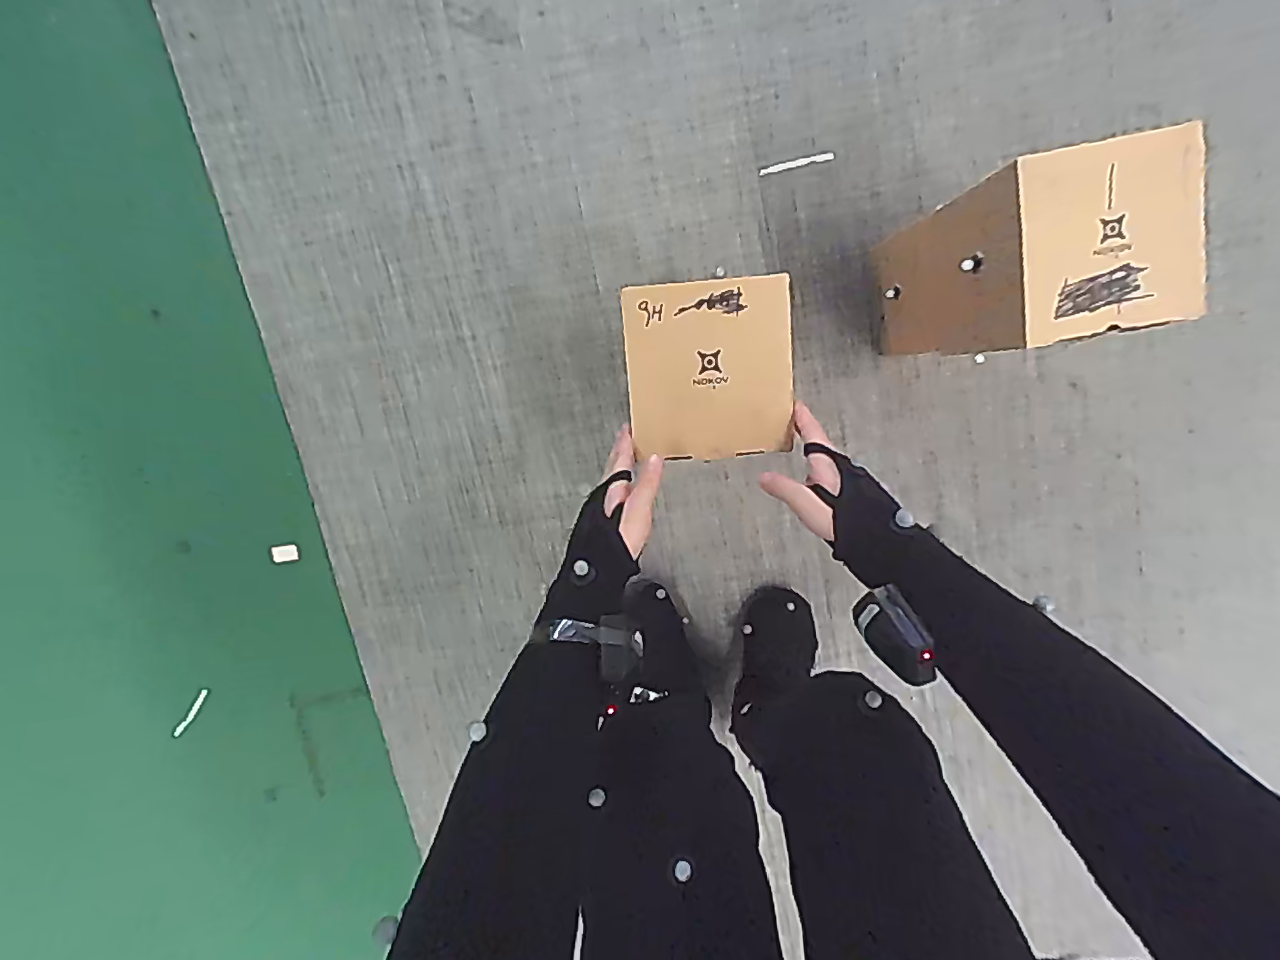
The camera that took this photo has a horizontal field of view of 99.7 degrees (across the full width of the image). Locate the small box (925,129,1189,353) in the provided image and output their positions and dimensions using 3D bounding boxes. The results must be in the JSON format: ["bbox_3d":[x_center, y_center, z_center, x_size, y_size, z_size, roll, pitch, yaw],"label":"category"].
[{"bbox_3d":[0.438,-0.240,0.595,0.168,0.176,0.179,-9,98,4],"label":"small box"}]

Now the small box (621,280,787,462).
[{"bbox_3d":[0.070,-0.123,0.631,0.168,0.176,0.179,-4,99,2],"label":"small box"}]
